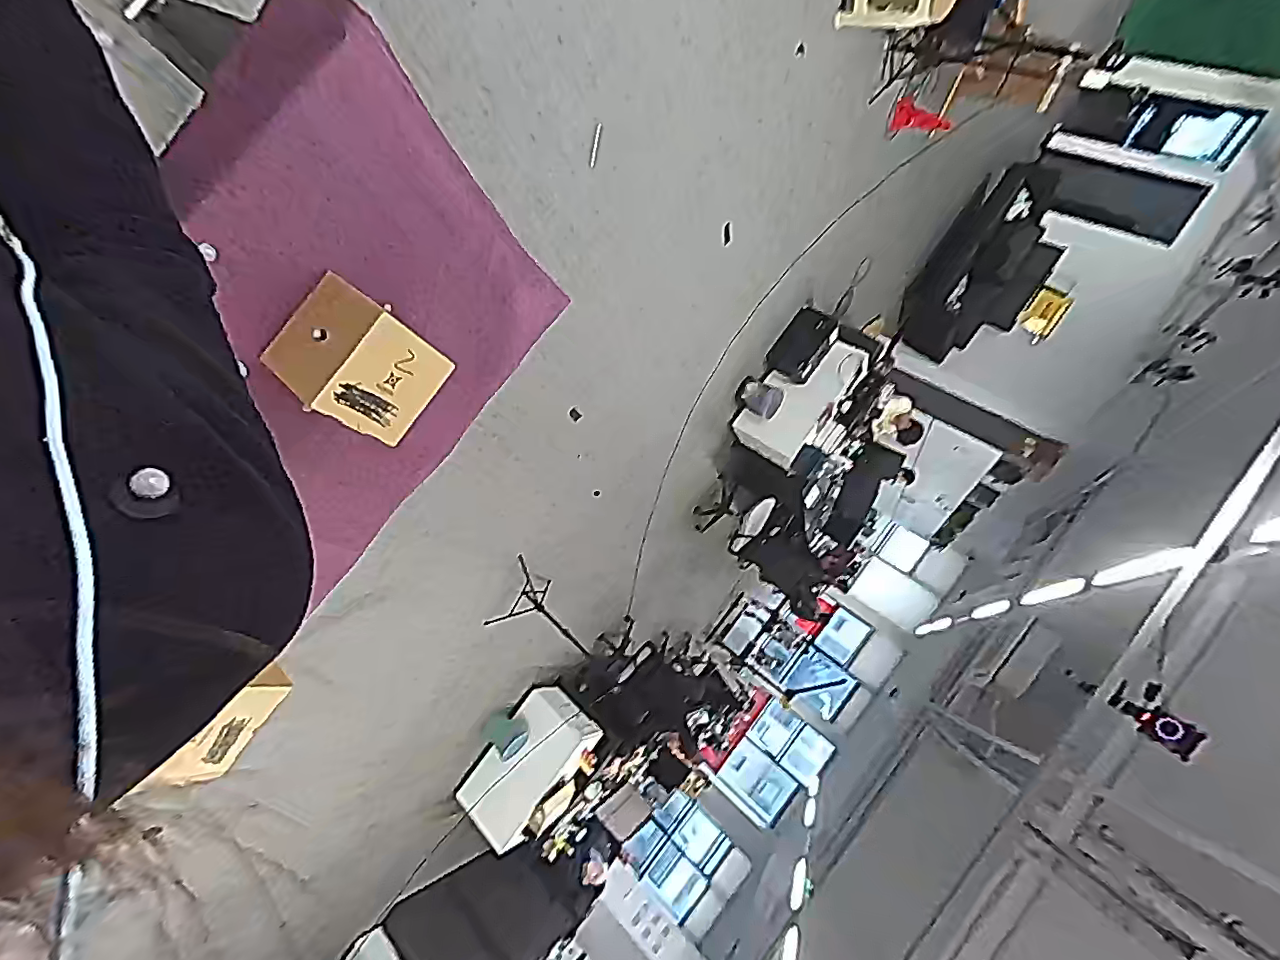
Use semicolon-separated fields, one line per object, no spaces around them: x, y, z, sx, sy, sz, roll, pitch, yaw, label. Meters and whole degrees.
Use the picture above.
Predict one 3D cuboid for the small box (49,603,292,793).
-0.650;0.292;0.758;0.168;0.176;0.179;-53;154;-4;small box
